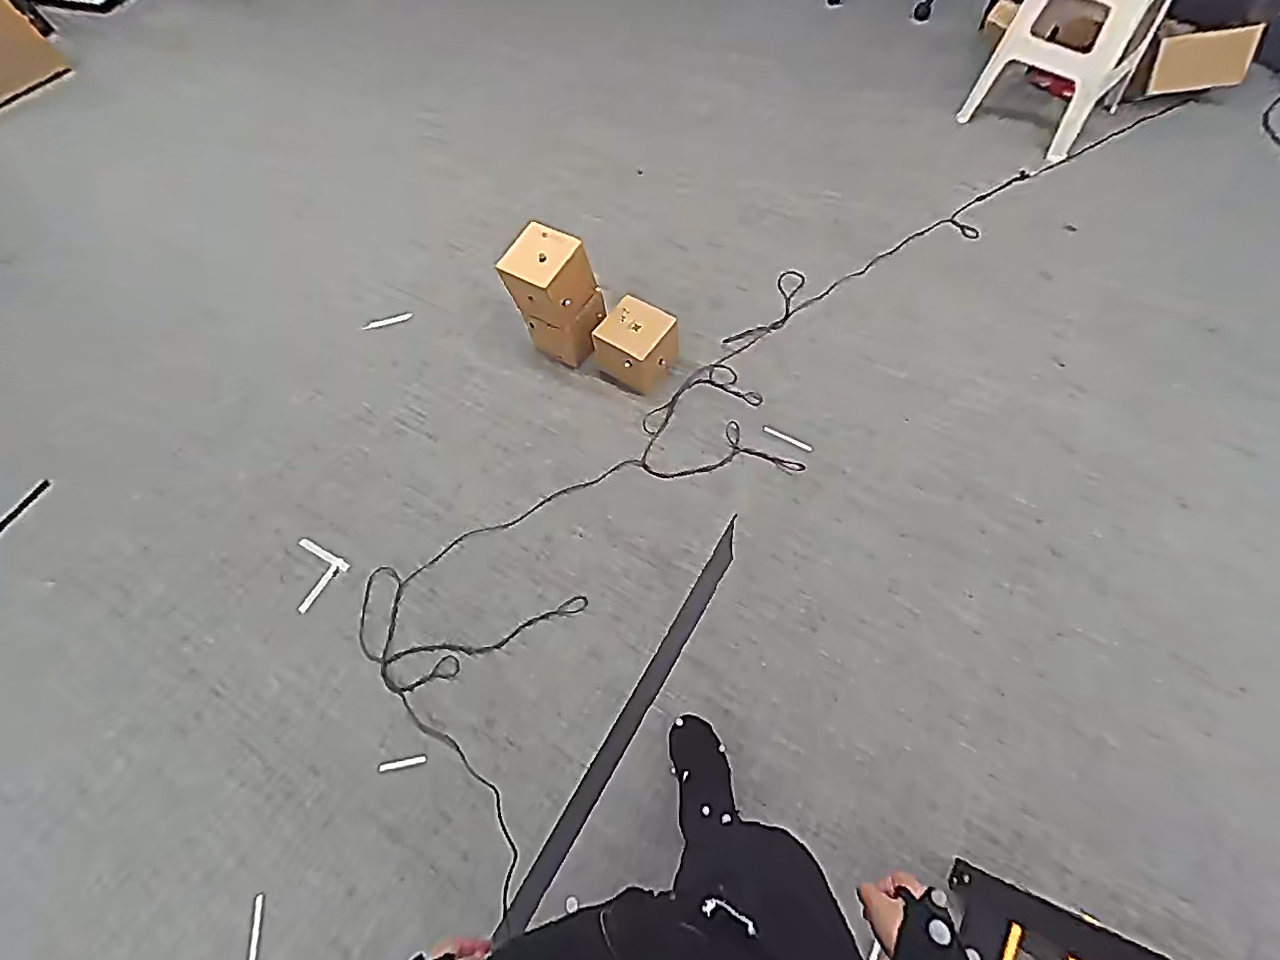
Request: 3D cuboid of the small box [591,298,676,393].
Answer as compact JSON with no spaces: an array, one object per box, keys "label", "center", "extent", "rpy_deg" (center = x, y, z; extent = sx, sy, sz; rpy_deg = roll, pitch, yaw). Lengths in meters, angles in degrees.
[{"label":"small box","center":[-0.011,-0.372,1.531],"extent":[0.179,0.176,0.168],"rpy_deg":[32,71,19]}]
